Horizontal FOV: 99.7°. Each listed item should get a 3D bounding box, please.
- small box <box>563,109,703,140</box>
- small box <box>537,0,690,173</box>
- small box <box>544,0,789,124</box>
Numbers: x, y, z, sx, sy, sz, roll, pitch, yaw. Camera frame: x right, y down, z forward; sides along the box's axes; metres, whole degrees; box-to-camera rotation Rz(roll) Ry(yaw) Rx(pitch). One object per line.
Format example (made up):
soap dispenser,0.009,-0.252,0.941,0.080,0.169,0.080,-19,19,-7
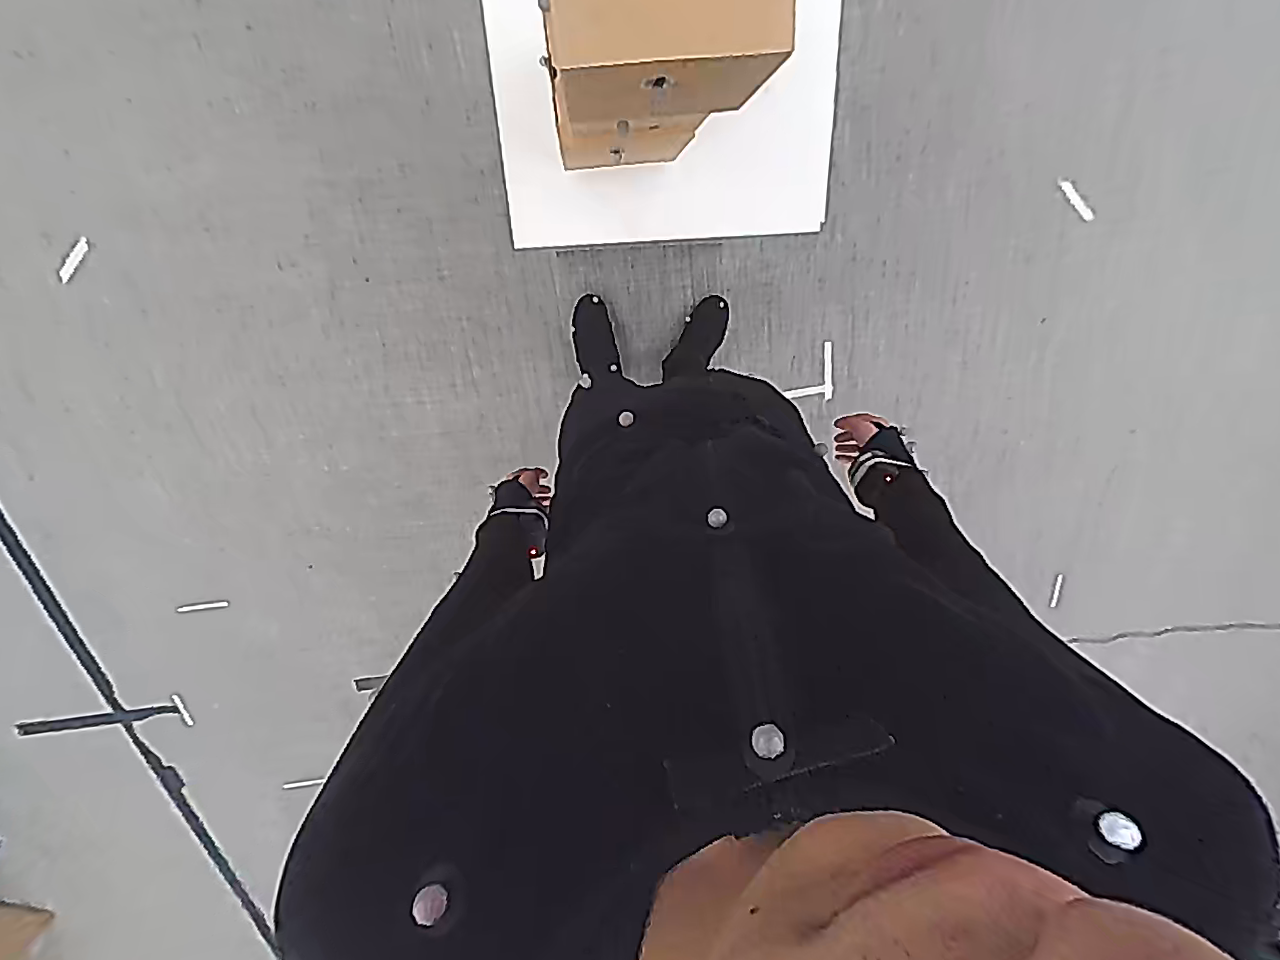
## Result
small box,-0.008,-0.484,0.584,0.168,0.176,0.179,-7,111,-3
small box,-0.035,-0.530,0.738,0.179,0.176,0.168,-8,112,-4
small box,0.010,-0.407,0.438,0.179,0.176,0.168,-7,112,-3
